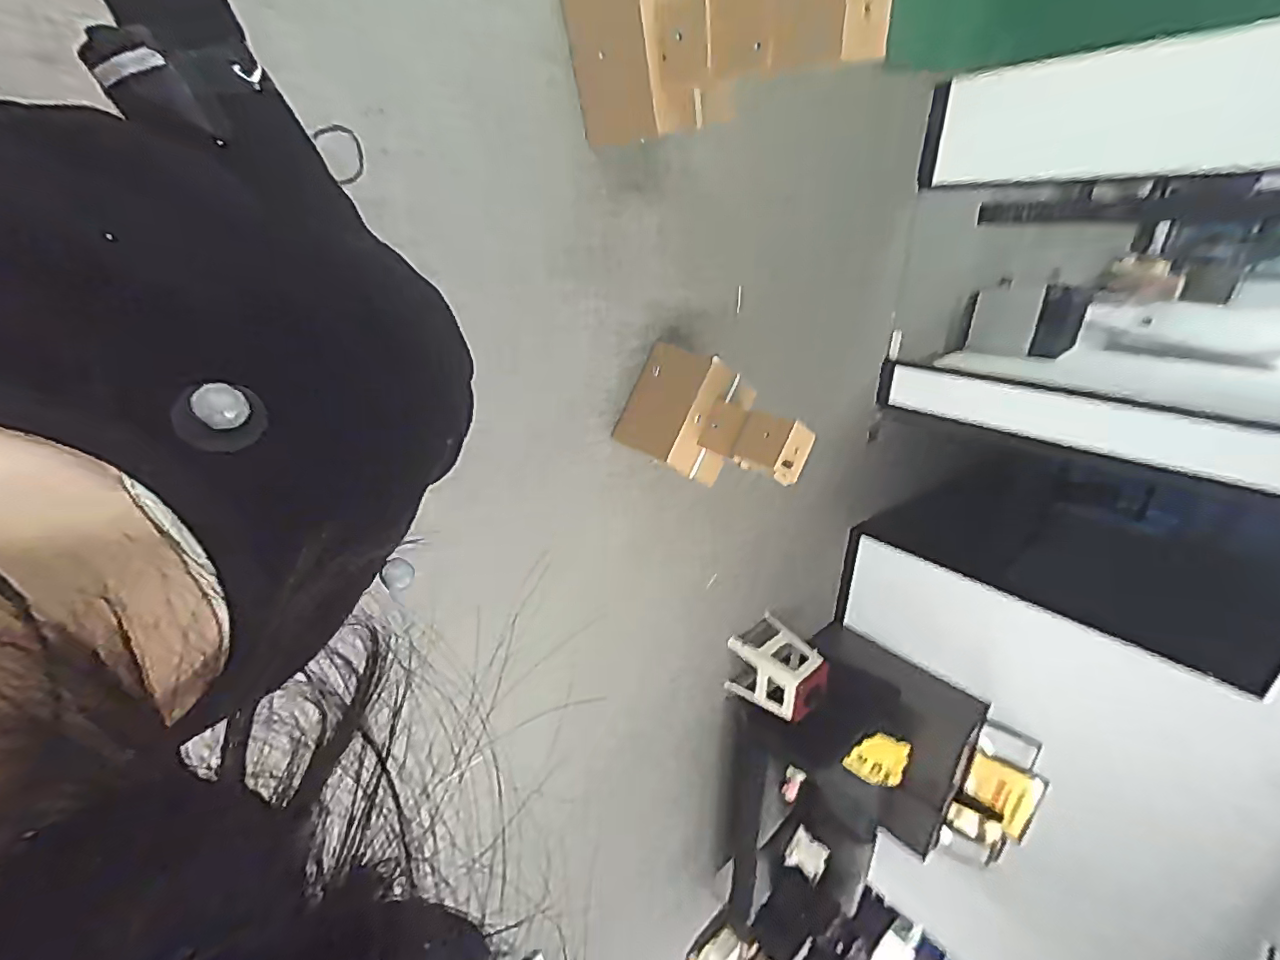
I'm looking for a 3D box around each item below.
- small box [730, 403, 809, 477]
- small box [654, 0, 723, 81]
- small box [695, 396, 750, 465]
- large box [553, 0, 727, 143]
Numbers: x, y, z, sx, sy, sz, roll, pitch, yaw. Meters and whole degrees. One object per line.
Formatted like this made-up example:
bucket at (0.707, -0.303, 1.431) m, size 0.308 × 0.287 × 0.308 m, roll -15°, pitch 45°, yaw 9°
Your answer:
small box at (0.422, -0.134, 1.783) m, size 0.168 × 0.176 × 0.179 m, roll 24°, pitch 90°, yaw -49°
small box at (0.147, -1.071, 1.298) m, size 0.179 × 0.176 × 0.168 m, roll -29°, pitch 128°, yaw -32°
small box at (0.318, -0.176, 1.905) m, size 0.168 × 0.176 × 0.179 m, roll 18°, pitch 97°, yaw -49°
large box at (0.002, -1.188, 1.463) m, size 0.320 × 0.320 × 0.408 m, roll -35°, pitch 129°, yaw -30°
